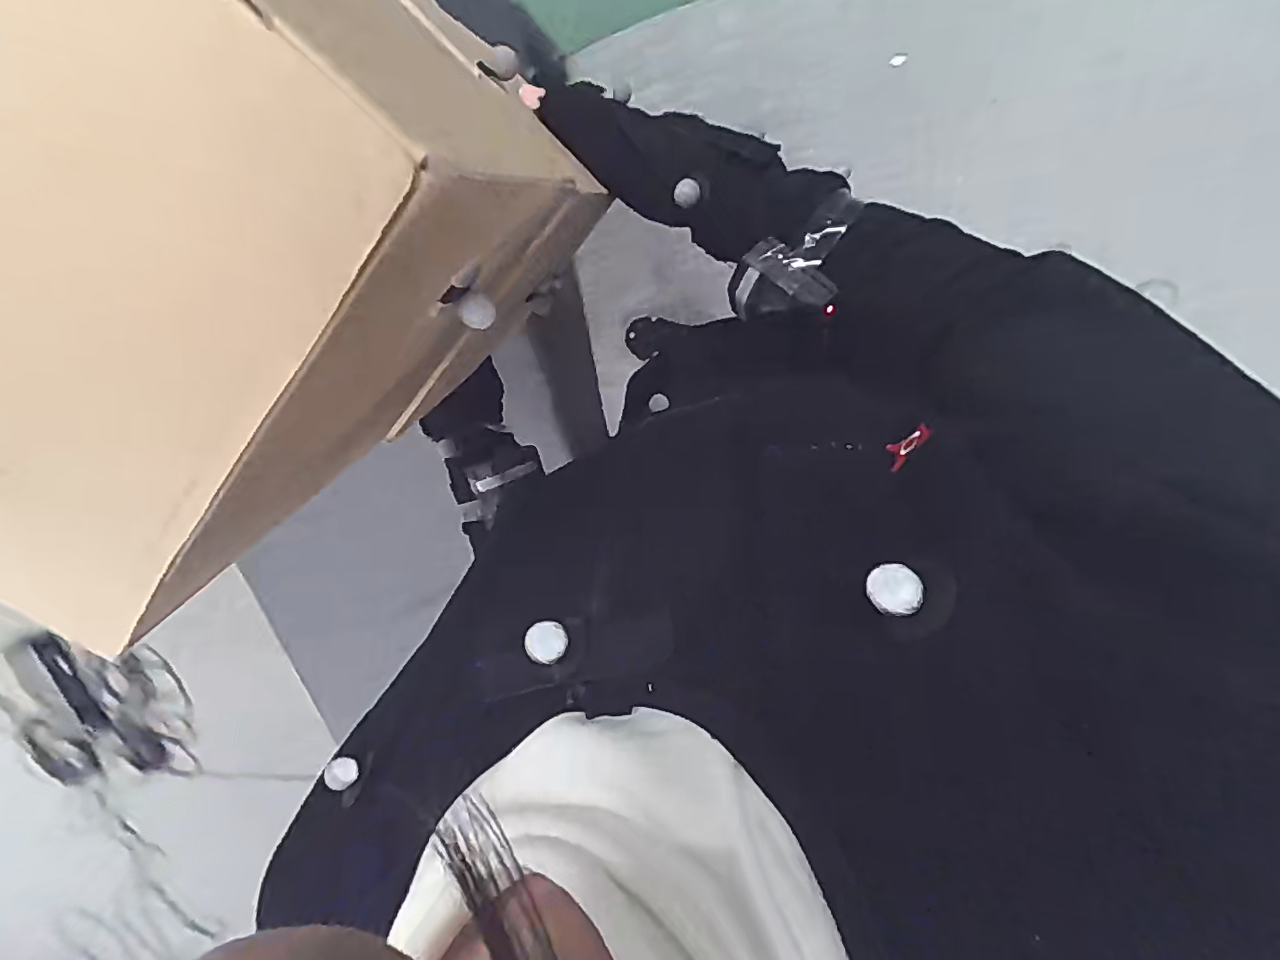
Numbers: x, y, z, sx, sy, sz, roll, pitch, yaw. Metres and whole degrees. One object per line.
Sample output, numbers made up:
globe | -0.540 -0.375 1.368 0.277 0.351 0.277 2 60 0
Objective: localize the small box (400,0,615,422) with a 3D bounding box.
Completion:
small box | -0.128 -0.173 0.323 0.168 0.176 0.179 41 113 -17

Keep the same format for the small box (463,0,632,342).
small box | -0.122 -0.255 0.464 0.168 0.176 0.179 36 113 -16
